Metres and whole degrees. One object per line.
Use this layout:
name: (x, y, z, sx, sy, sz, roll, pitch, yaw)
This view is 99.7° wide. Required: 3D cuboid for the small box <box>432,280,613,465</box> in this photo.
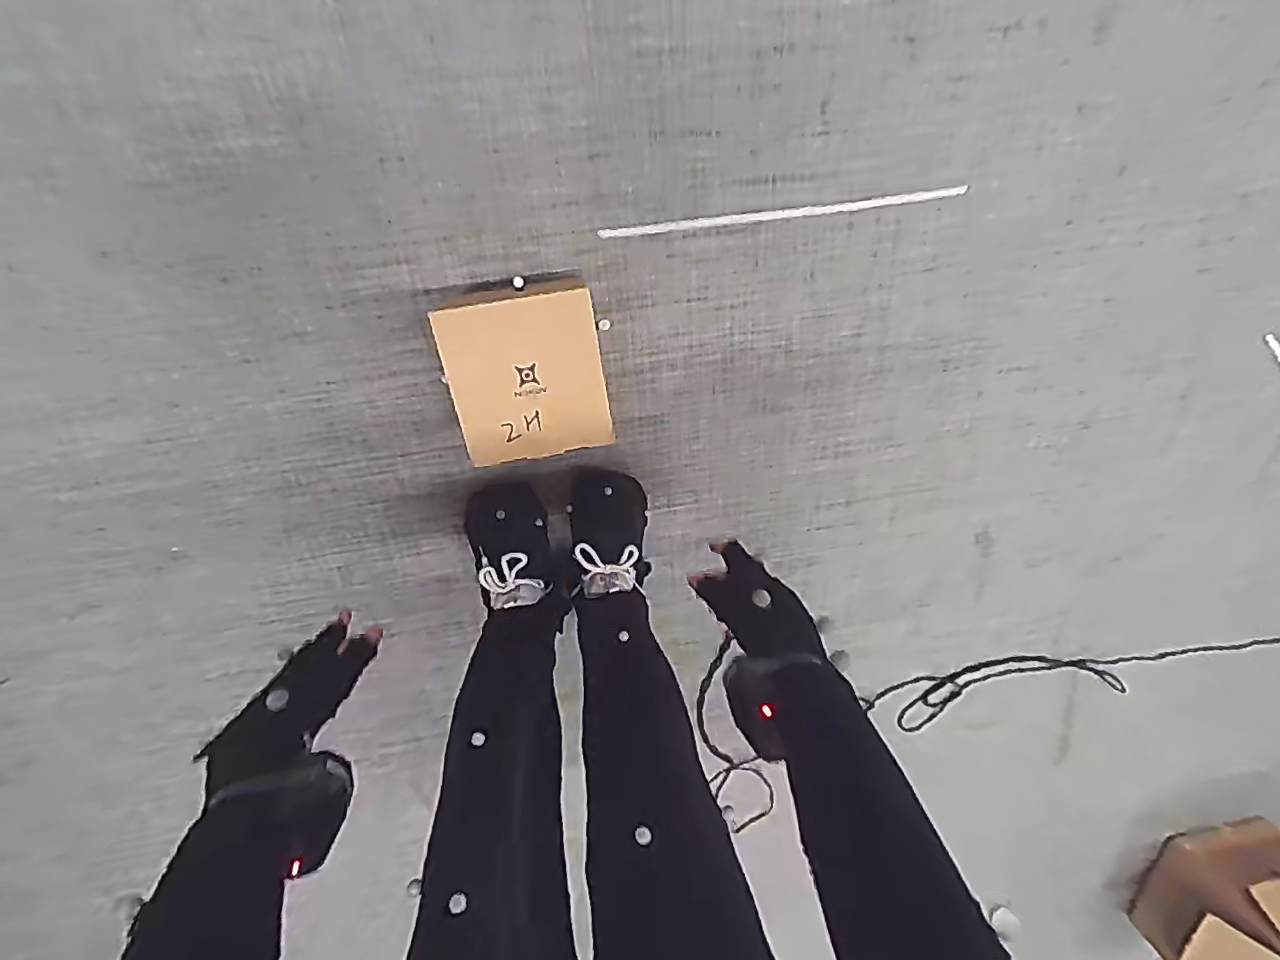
small box: (-0.131, -0.139, 0.650, 0.168, 0.176, 0.179, -10, 116, -4)
